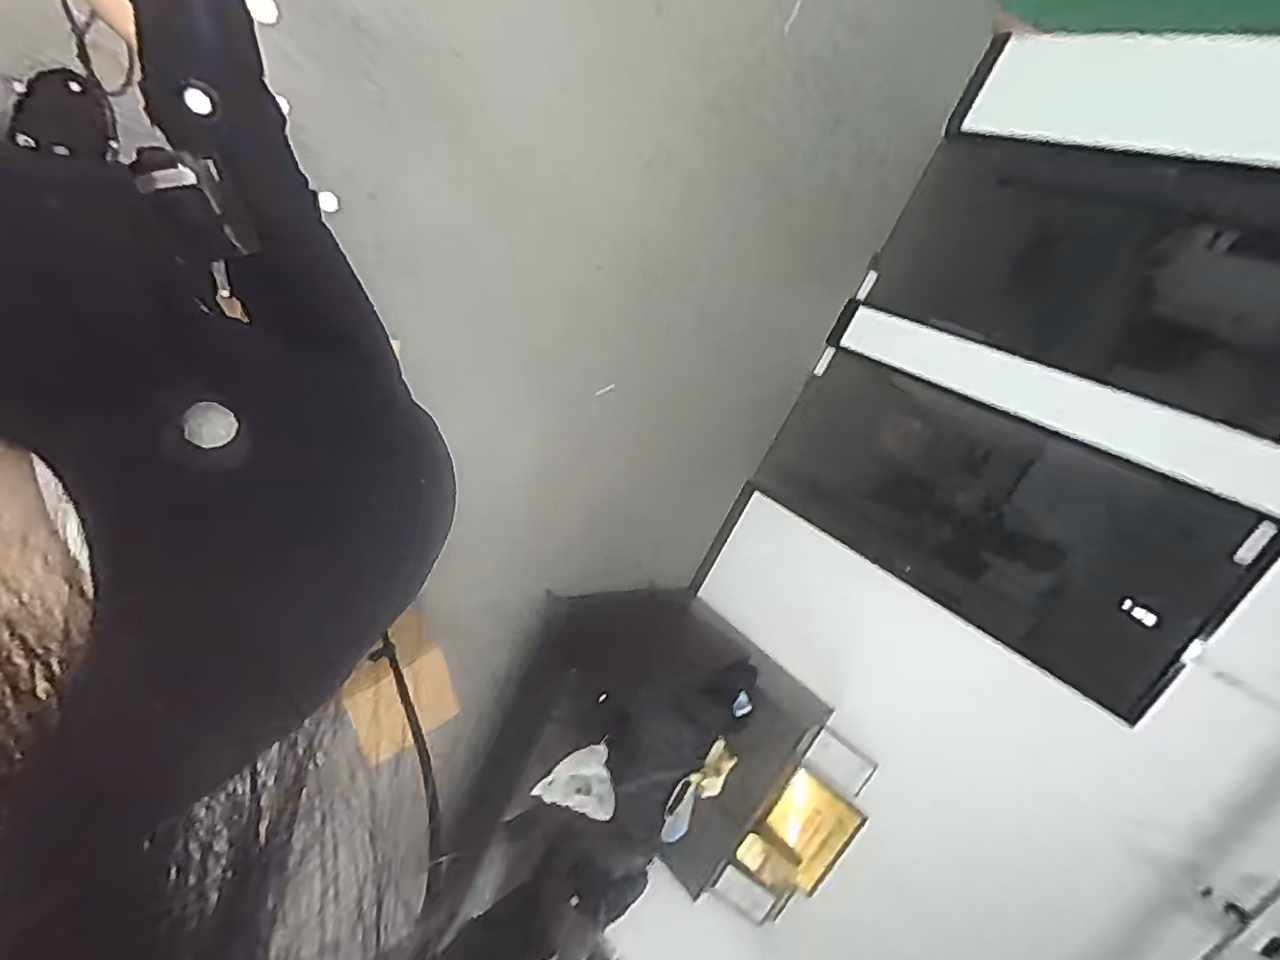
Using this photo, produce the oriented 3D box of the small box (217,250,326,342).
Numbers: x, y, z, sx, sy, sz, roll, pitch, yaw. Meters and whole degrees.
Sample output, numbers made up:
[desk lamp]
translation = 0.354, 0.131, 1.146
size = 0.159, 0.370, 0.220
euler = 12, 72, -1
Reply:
[small box]
translation = -0.807, -0.390, 1.199
size = 0.179, 0.176, 0.168
euler = 6, 116, -51
